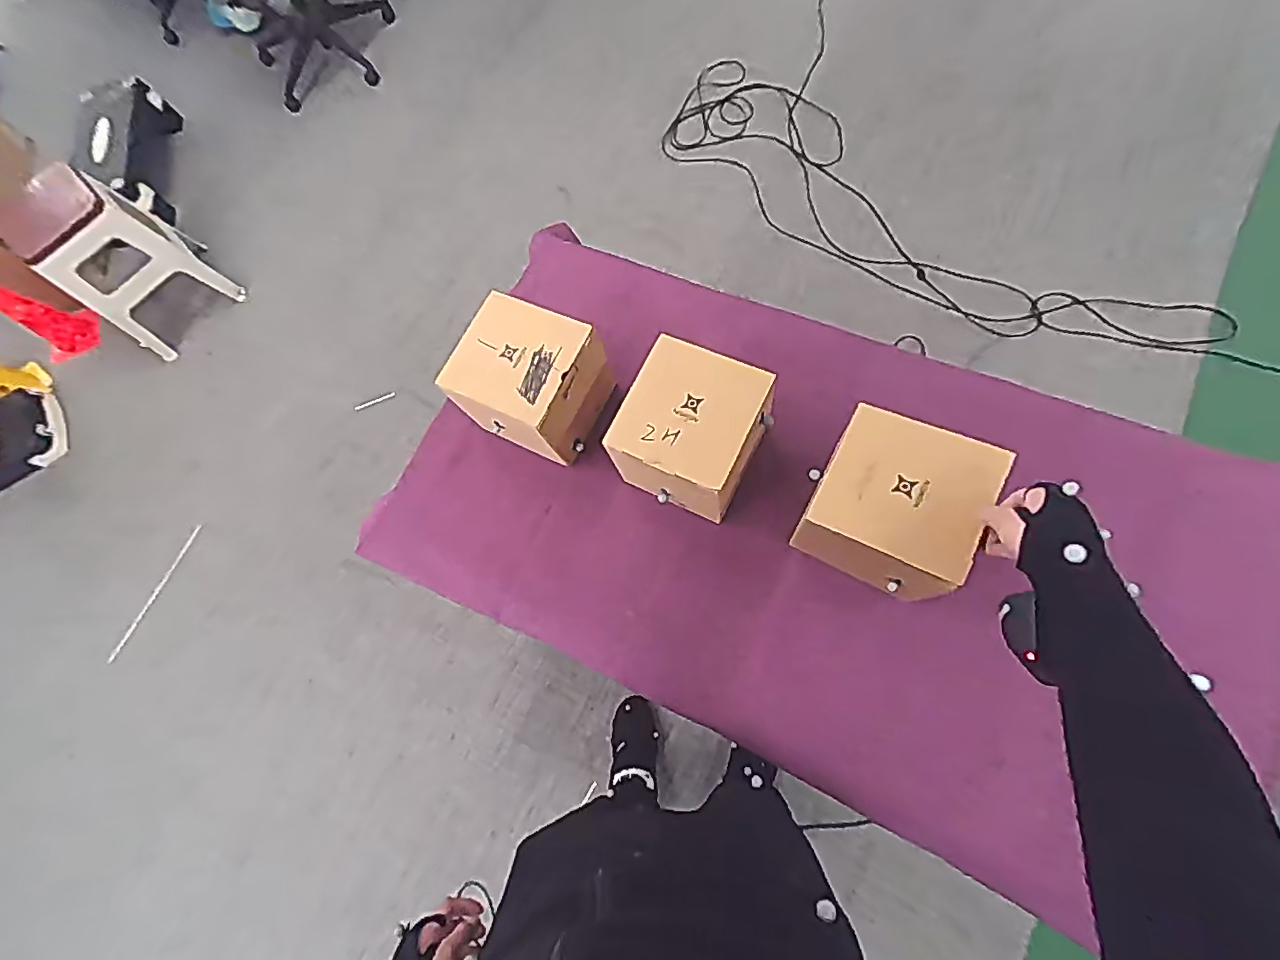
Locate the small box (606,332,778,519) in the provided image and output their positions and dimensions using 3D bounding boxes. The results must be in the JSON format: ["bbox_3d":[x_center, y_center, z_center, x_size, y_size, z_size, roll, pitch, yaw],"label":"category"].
[{"bbox_3d":[0.075,-0.067,0.757,0.168,0.176,0.179,25,79,15],"label":"small box"}]

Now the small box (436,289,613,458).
[{"bbox_3d":[-0.160,-0.149,0.817,0.179,0.176,0.168,24,78,16],"label":"small box"}]

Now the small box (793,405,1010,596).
[{"bbox_3d":[0.315,0.036,0.690,0.179,0.176,0.168,27,78,16],"label":"small box"}]
